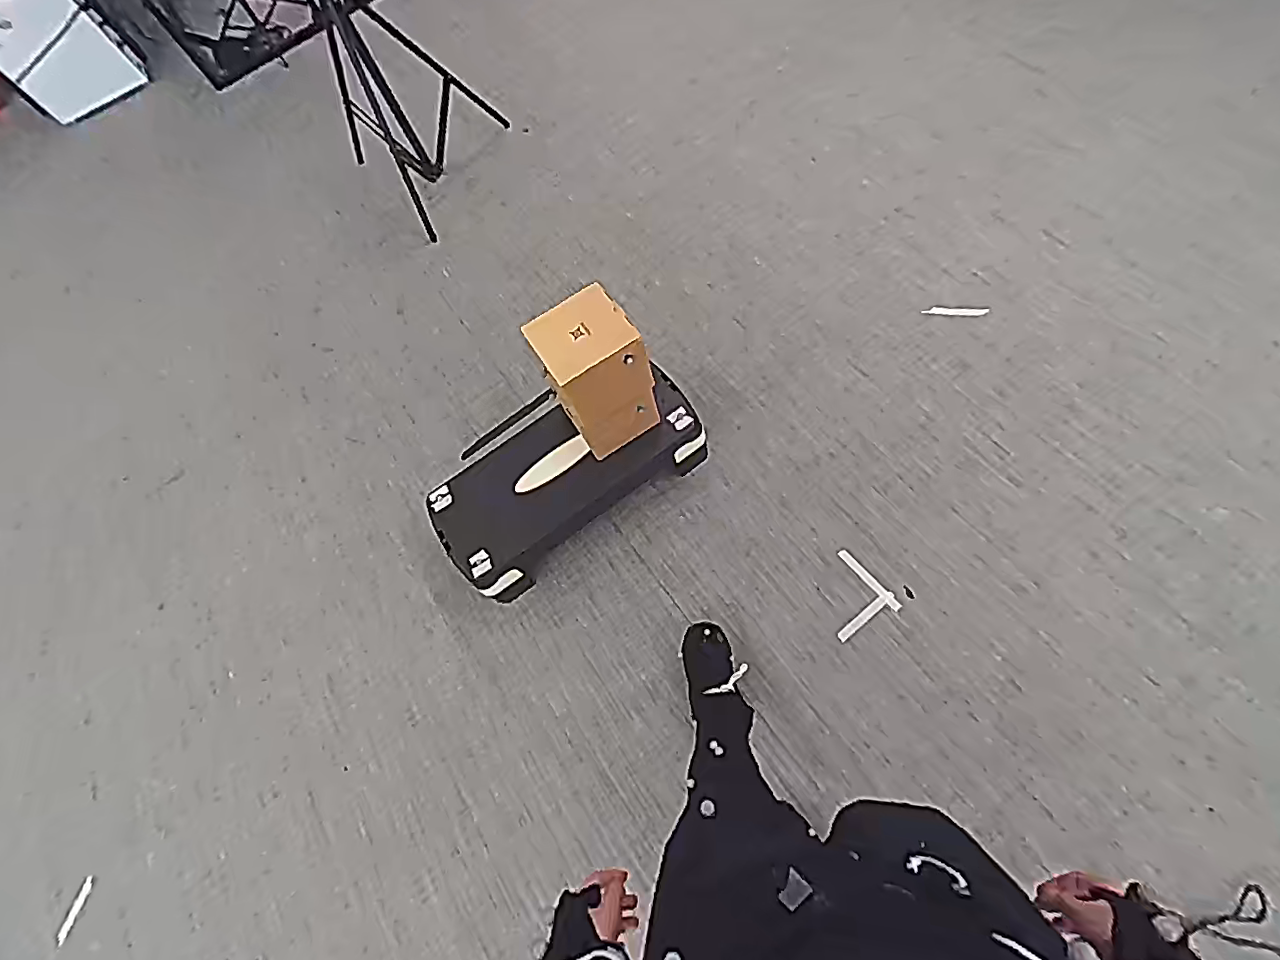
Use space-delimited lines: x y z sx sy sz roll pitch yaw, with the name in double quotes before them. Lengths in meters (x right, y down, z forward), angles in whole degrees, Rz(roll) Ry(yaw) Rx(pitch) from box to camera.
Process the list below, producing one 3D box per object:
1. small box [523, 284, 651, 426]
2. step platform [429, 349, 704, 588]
"small box" -0.096 -0.237 1.064 0.179 0.176 0.168 -33 66 -5
"step platform" -0.176 -0.037 1.364 0.684 0.204 0.286 -37 66 -5
